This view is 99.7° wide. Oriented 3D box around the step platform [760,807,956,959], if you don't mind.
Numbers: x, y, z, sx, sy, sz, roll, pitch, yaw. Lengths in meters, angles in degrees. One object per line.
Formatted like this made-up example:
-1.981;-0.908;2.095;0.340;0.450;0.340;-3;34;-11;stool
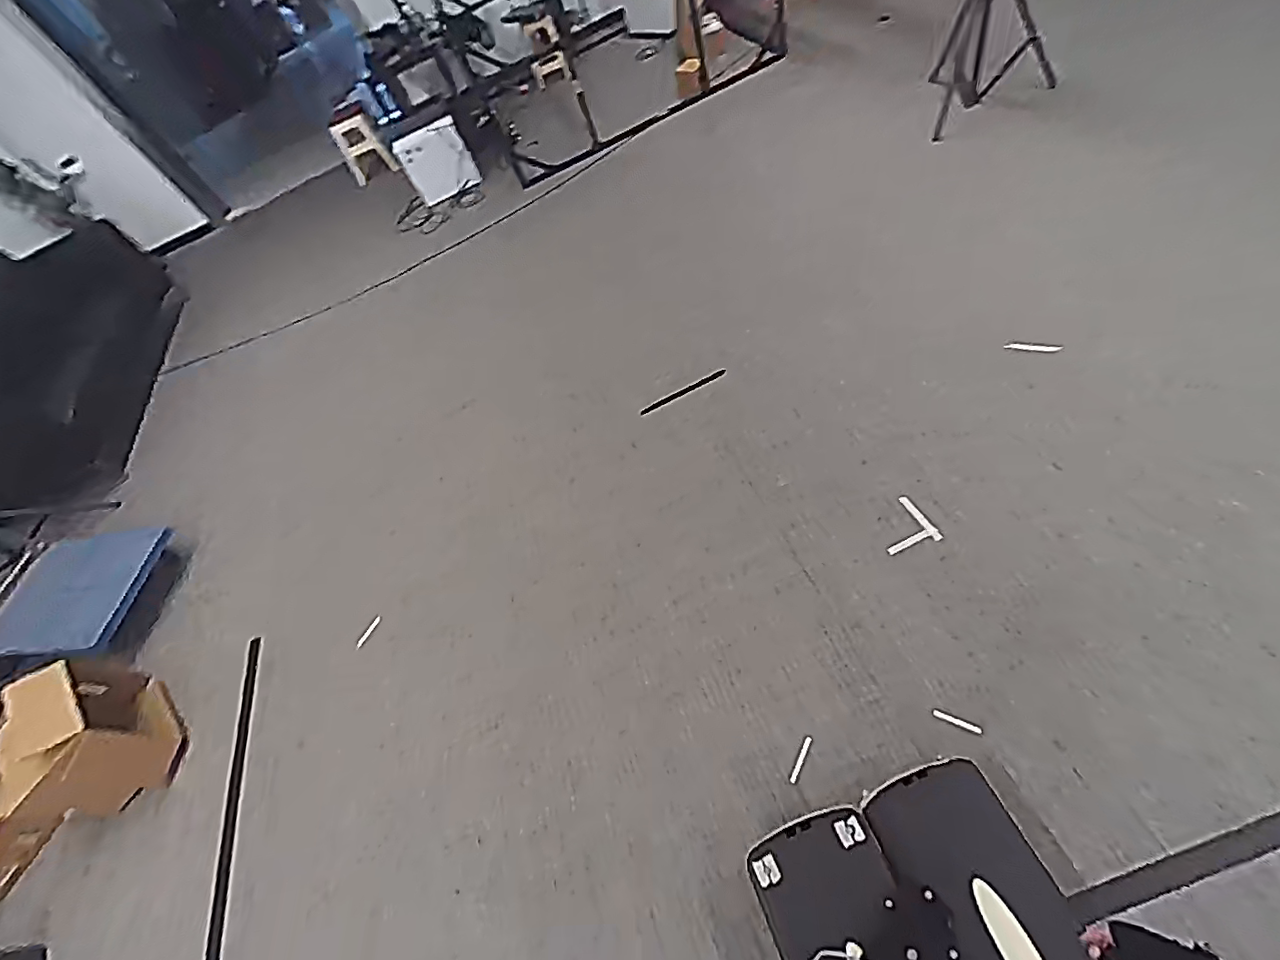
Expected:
0.504;1.036;1.040;0.286;0.204;0.684;-26;51;1;step platform
